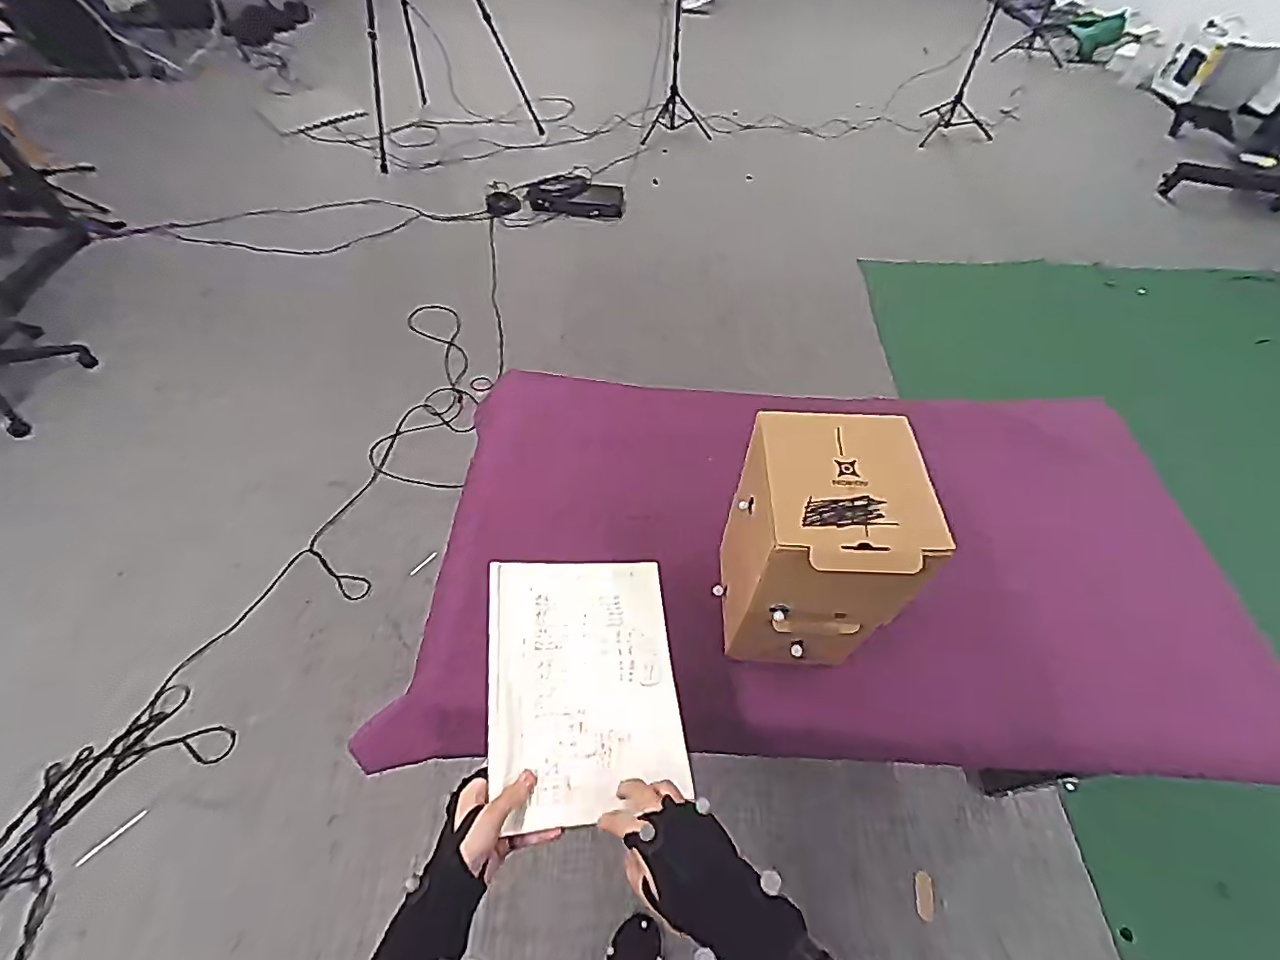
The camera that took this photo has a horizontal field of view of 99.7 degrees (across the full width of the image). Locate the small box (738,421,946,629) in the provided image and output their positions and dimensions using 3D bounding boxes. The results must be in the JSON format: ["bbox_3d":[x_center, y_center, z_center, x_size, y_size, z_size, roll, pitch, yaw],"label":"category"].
[{"bbox_3d":[0.207,0.055,0.614,0.168,0.176,0.179,3,52,1],"label":"small box"}]

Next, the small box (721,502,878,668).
[{"bbox_3d":[0.206,0.150,0.749,0.168,0.176,0.179,3,53,1],"label":"small box"}]
